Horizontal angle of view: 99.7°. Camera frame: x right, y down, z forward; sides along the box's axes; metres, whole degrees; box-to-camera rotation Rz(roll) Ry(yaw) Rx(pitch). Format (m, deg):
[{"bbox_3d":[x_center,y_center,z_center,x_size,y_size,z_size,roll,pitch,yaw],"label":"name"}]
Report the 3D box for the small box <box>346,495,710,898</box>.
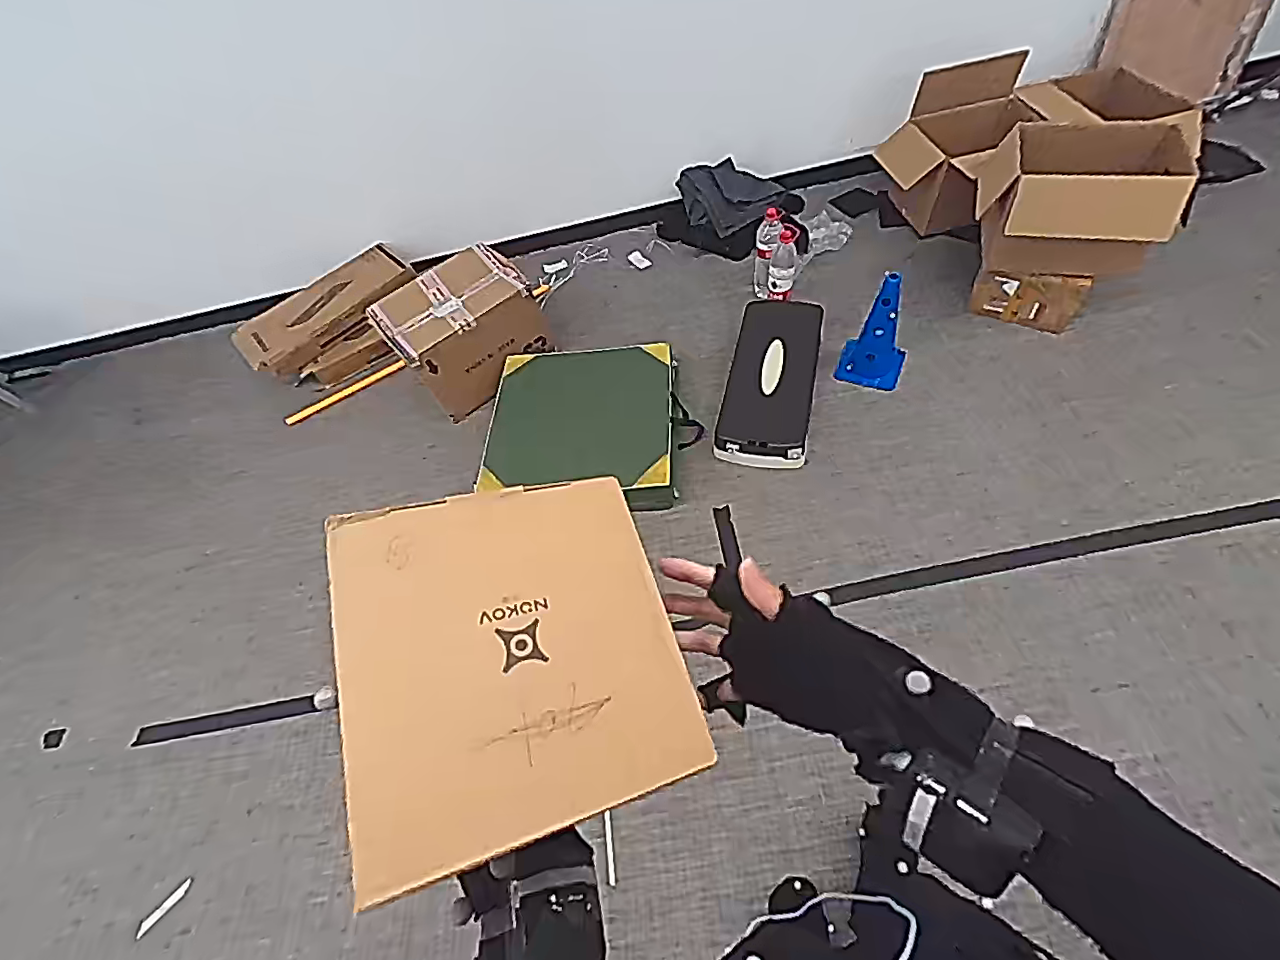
[{"bbox_3d":[-0.085,0.133,0.352,0.168,0.176,0.179,-8,61,-24],"label":"small box"}]
